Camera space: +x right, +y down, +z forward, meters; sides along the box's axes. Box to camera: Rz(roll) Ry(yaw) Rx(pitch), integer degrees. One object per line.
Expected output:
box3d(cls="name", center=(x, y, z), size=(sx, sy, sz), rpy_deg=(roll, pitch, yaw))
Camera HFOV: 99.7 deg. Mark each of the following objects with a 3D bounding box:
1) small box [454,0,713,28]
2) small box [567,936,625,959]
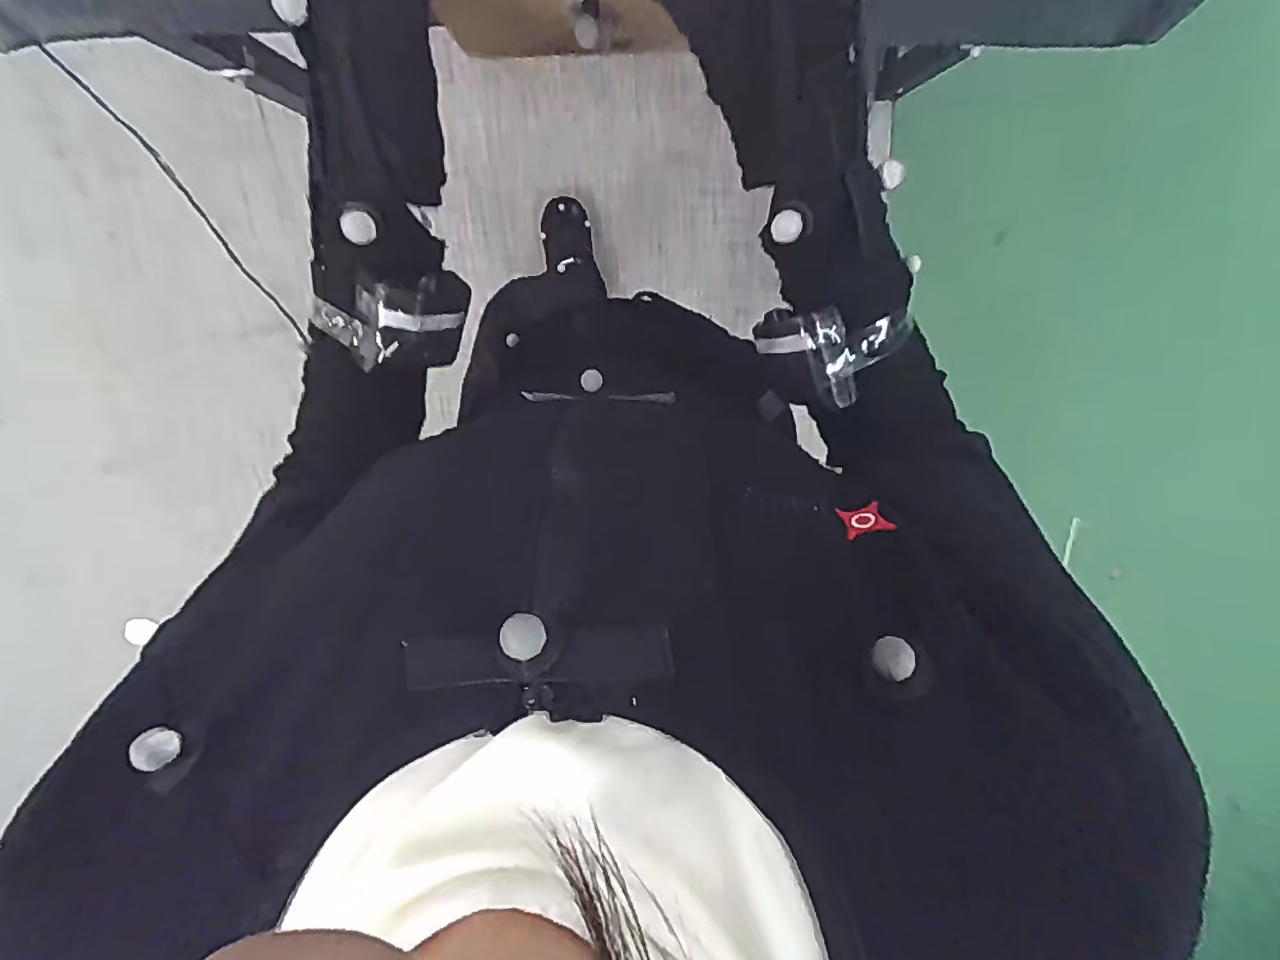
box3d(cls="small box", center=(-0.033, -0.340, 0.251), size=(0.168, 0.176, 0.179), rpy_deg=(-5, 114, -2))
box3d(cls="small box", center=(-0.136, 1.571, 1.684), size=(0.179, 0.176, 0.168), rpy_deg=(-6, 111, -1))
